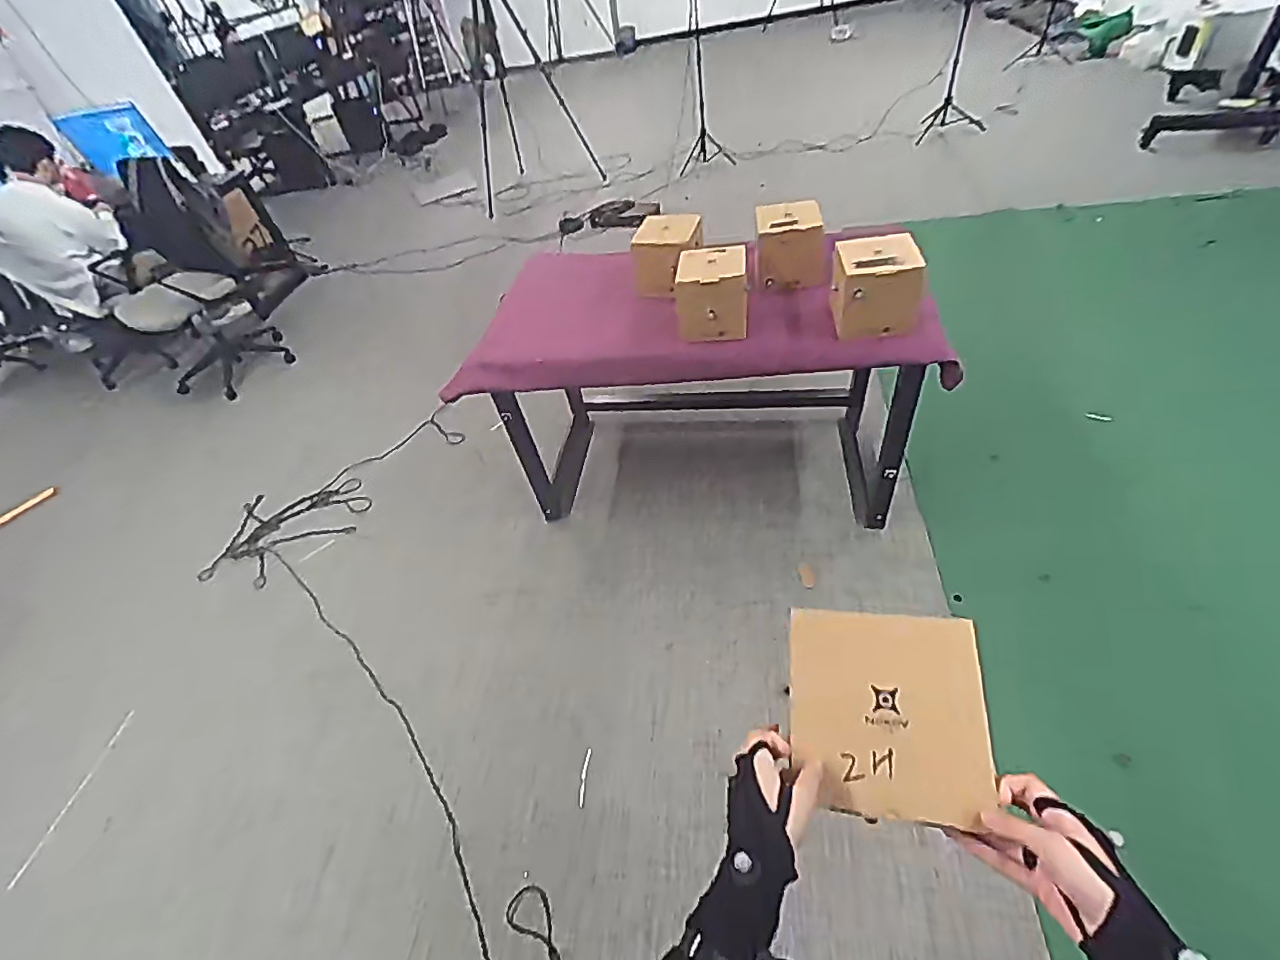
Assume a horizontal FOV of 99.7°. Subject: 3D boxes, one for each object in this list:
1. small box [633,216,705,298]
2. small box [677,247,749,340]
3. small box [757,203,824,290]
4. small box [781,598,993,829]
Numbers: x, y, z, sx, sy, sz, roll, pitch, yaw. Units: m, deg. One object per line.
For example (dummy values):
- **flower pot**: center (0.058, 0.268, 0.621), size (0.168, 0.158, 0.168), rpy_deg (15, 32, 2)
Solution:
- **small box**: center (0.093, -0.642, 1.565), size (0.168, 0.176, 0.179), rpy_deg (8, 49, 18)
- **small box**: center (0.191, -0.469, 1.378), size (0.168, 0.176, 0.179), rpy_deg (0, 46, 12)
- **small box**: center (0.411, -0.640, 1.494), size (0.168, 0.176, 0.179), rpy_deg (-1, 46, 10)
- **small box**: center (0.233, 0.232, 0.556), size (0.168, 0.176, 0.179), rpy_deg (1, 66, 15)
